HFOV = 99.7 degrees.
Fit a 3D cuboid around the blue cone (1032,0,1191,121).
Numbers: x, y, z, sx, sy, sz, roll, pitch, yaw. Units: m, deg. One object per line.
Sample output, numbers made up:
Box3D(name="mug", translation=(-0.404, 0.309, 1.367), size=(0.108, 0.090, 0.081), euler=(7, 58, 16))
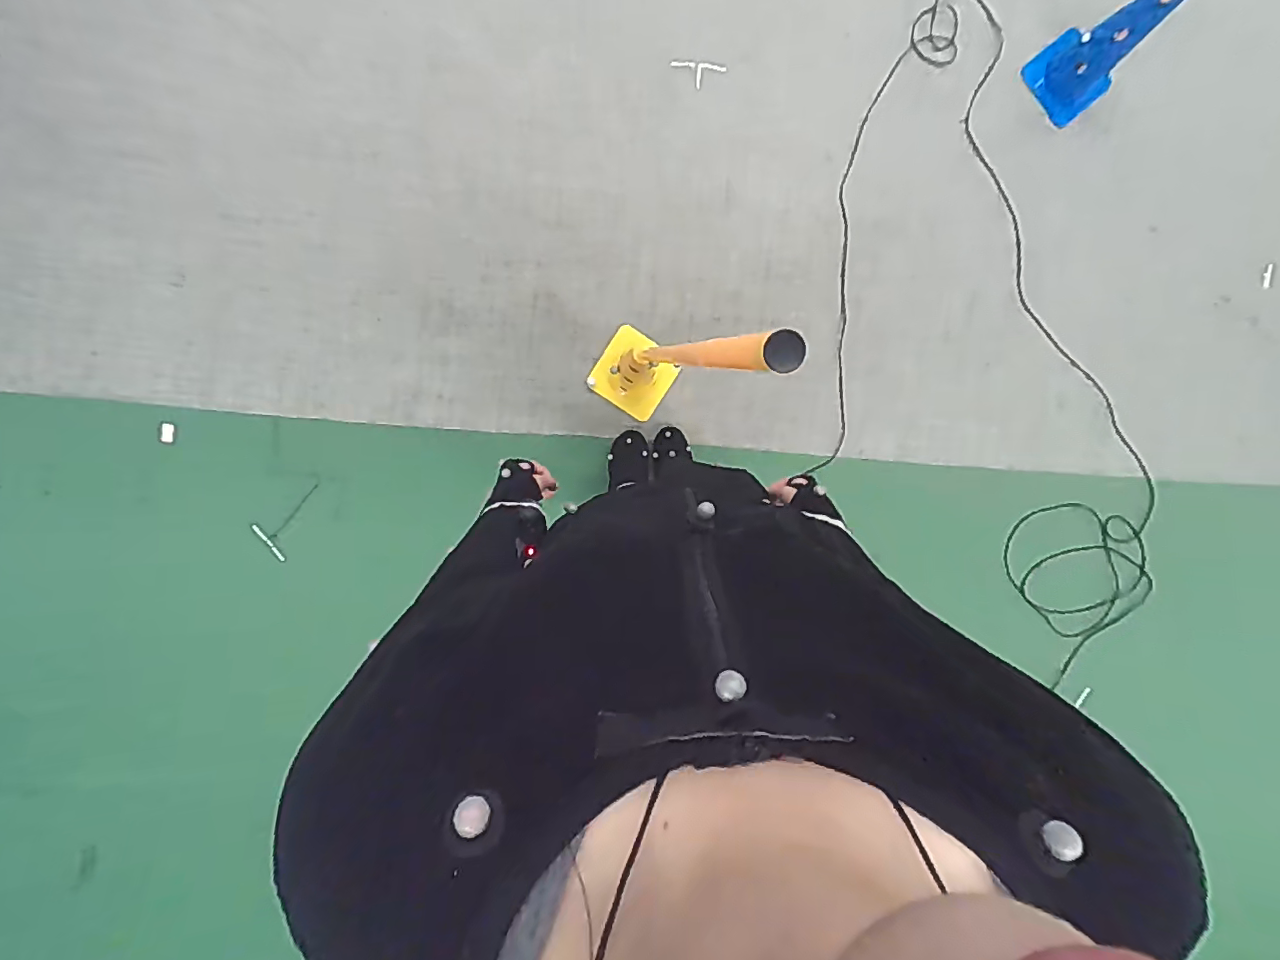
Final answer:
Box3D(name="blue cone", translation=(1.184, -1.094, 1.302), size=(0.193, 0.380, 0.192), euler=(-42, 95, -2))
